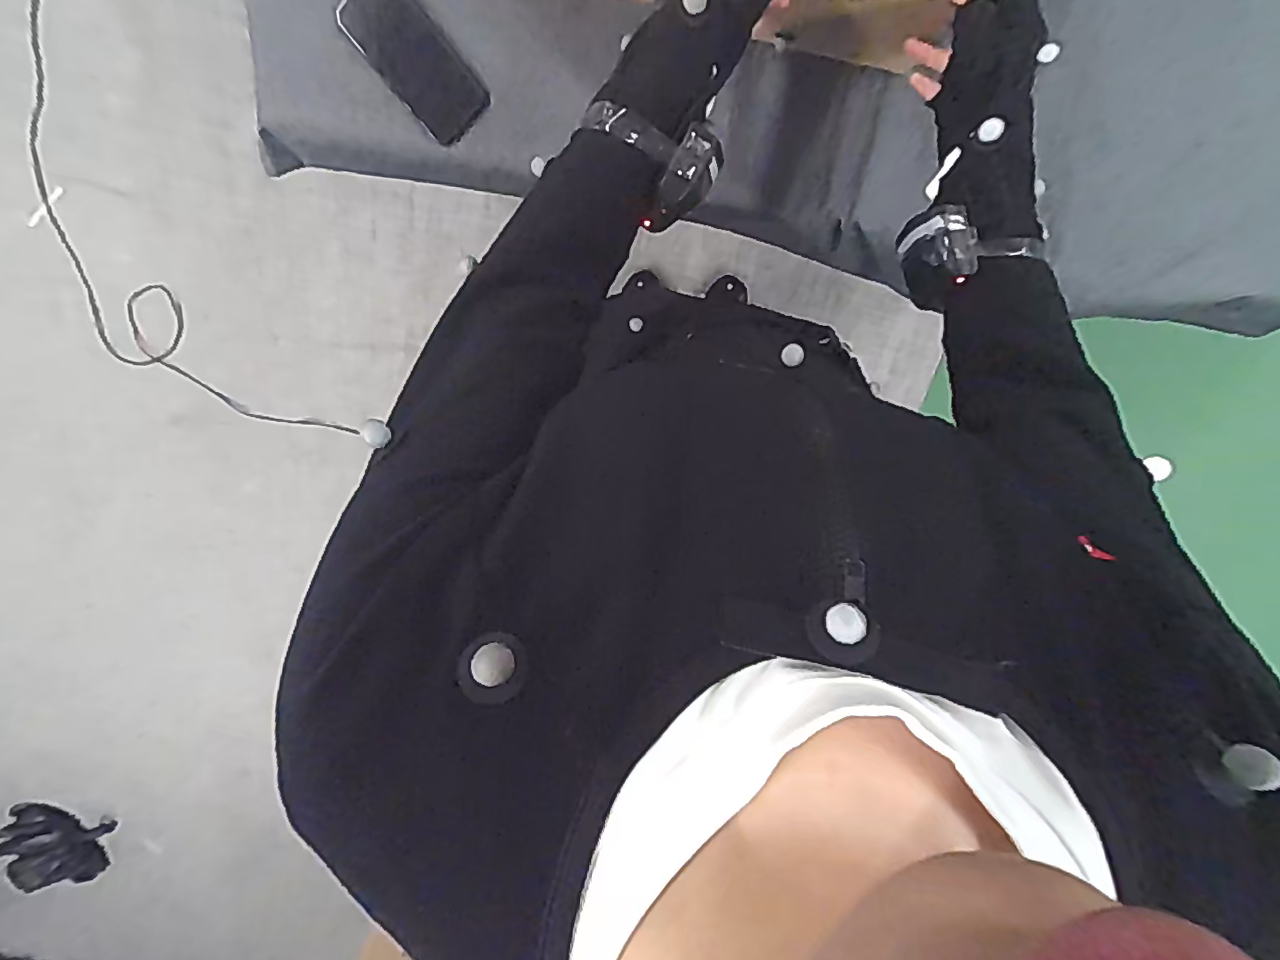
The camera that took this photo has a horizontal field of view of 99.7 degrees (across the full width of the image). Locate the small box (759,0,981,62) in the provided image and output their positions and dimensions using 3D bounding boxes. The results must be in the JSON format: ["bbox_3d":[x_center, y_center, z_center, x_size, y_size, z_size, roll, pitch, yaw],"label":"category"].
[{"bbox_3d":[0.203,-0.479,0.437,0.168,0.176,0.179,11,112,-2],"label":"small box"}]
